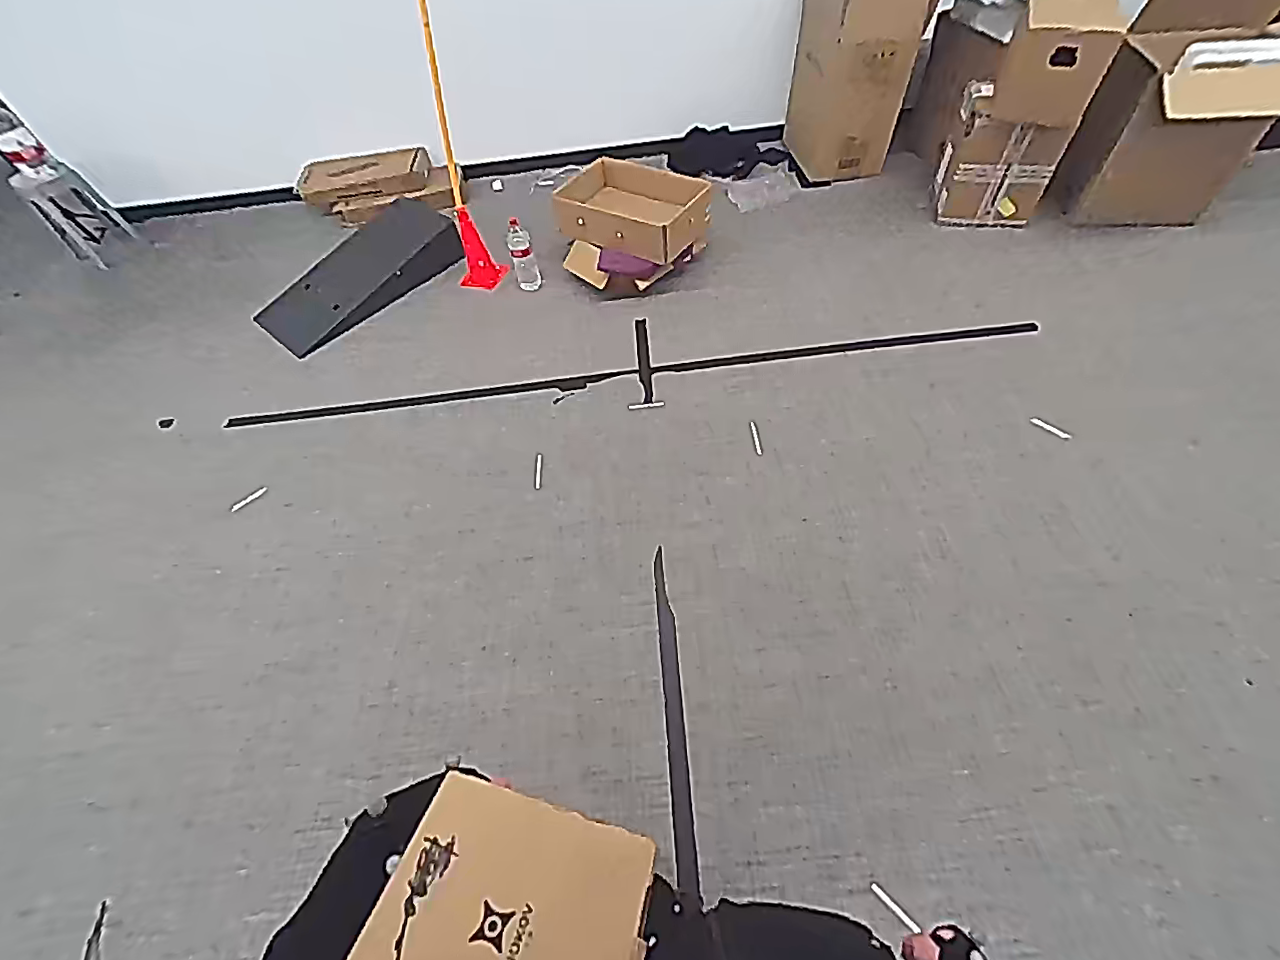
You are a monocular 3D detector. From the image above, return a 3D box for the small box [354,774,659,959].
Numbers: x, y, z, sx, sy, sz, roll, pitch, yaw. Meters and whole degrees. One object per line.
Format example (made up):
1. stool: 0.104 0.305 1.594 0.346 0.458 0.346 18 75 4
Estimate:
1. small box: -0.099 0.365 0.409 0.179 0.176 0.168 15 37 7
